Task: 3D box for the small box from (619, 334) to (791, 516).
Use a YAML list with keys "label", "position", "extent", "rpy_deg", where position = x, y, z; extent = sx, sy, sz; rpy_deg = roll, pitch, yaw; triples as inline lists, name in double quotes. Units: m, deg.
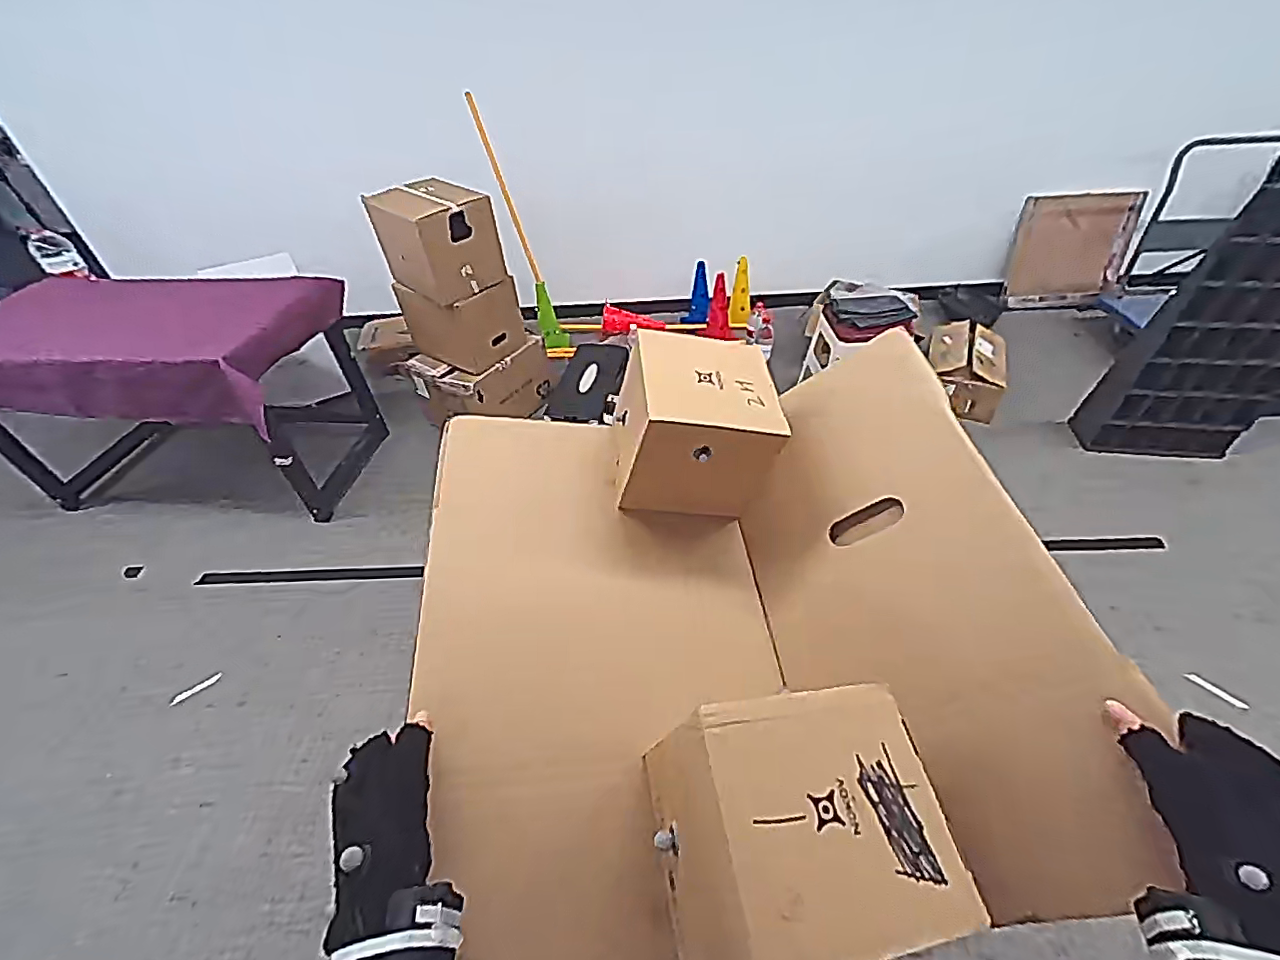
- label: "small box"
  position: [0.070, -0.066, 0.721]
  extent: [0.179, 0.176, 0.168]
  rpy_deg: [6, 50, -13]
